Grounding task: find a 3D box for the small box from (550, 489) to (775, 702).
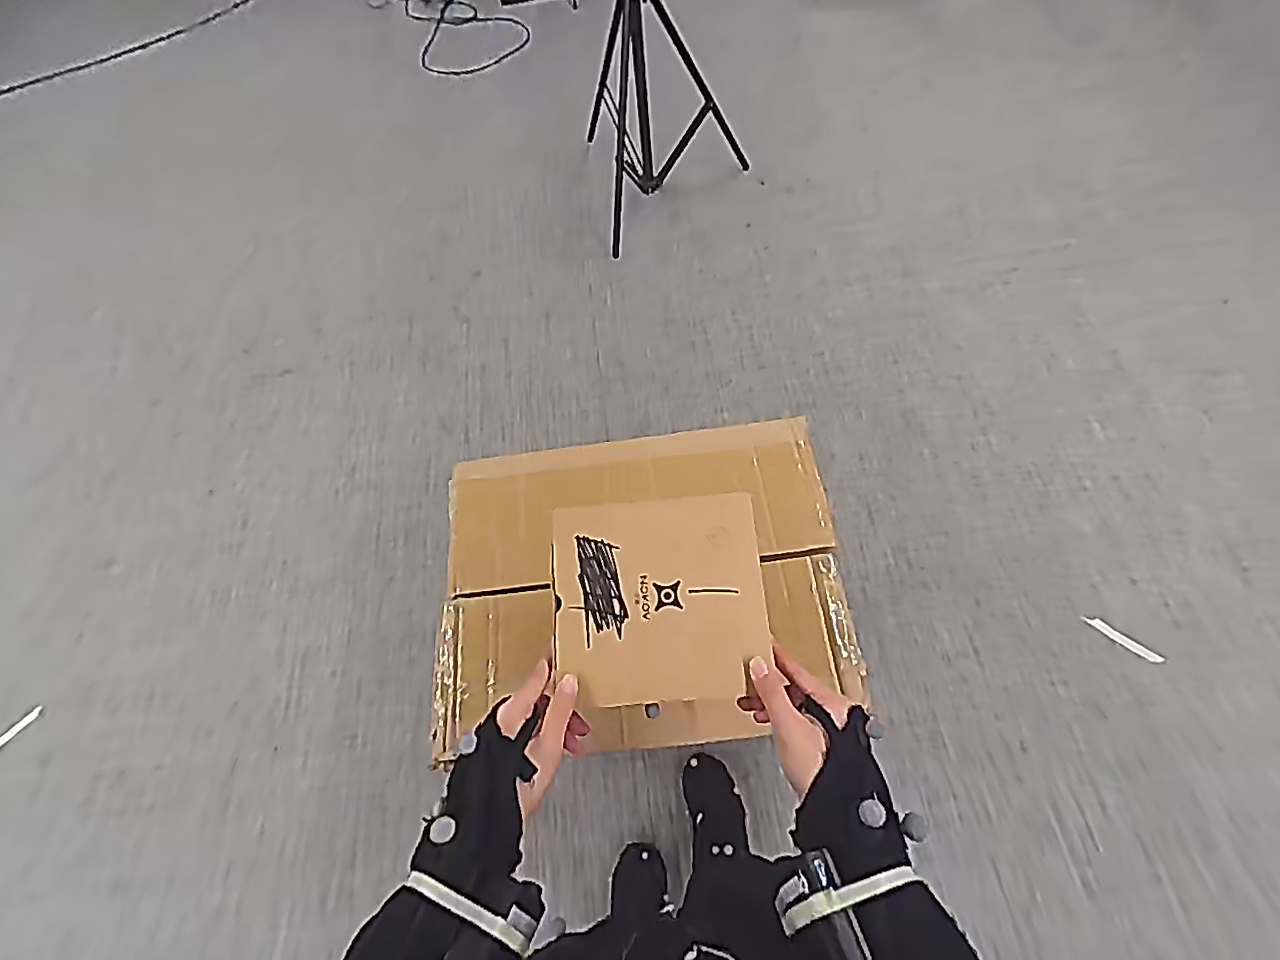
[{"bbox_3d":[0.018,0.117,0.519,0.179,0.176,0.168,-5,71,1],"label":"small box"}]
